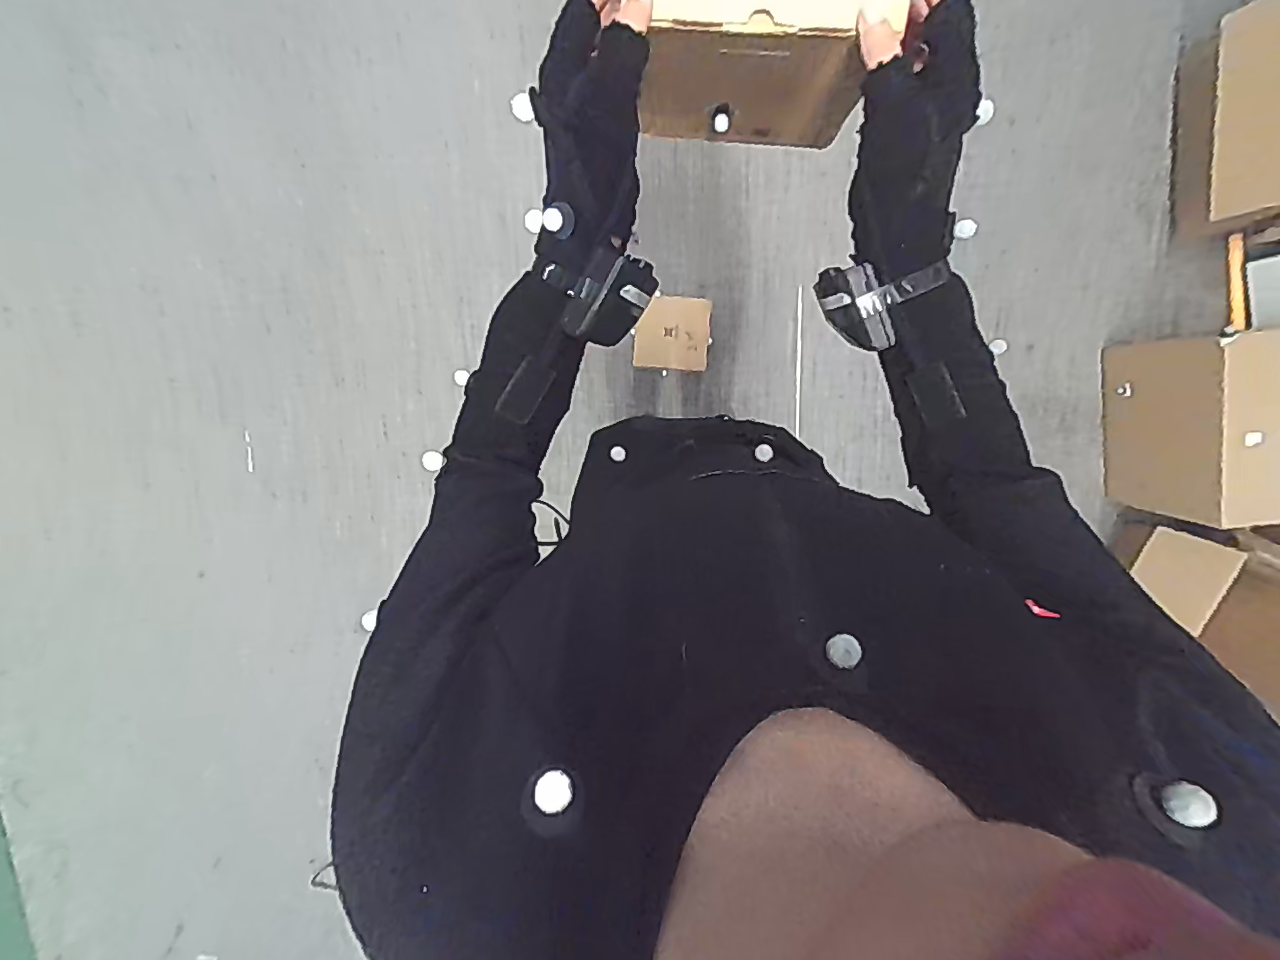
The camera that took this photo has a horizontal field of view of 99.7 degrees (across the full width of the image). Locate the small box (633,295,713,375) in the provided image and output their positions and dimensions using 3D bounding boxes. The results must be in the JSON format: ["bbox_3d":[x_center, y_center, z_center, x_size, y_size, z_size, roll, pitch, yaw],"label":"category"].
[{"bbox_3d":[0.081,-0.352,1.335,0.179,0.176,0.168,5,99,2],"label":"small box"}]
